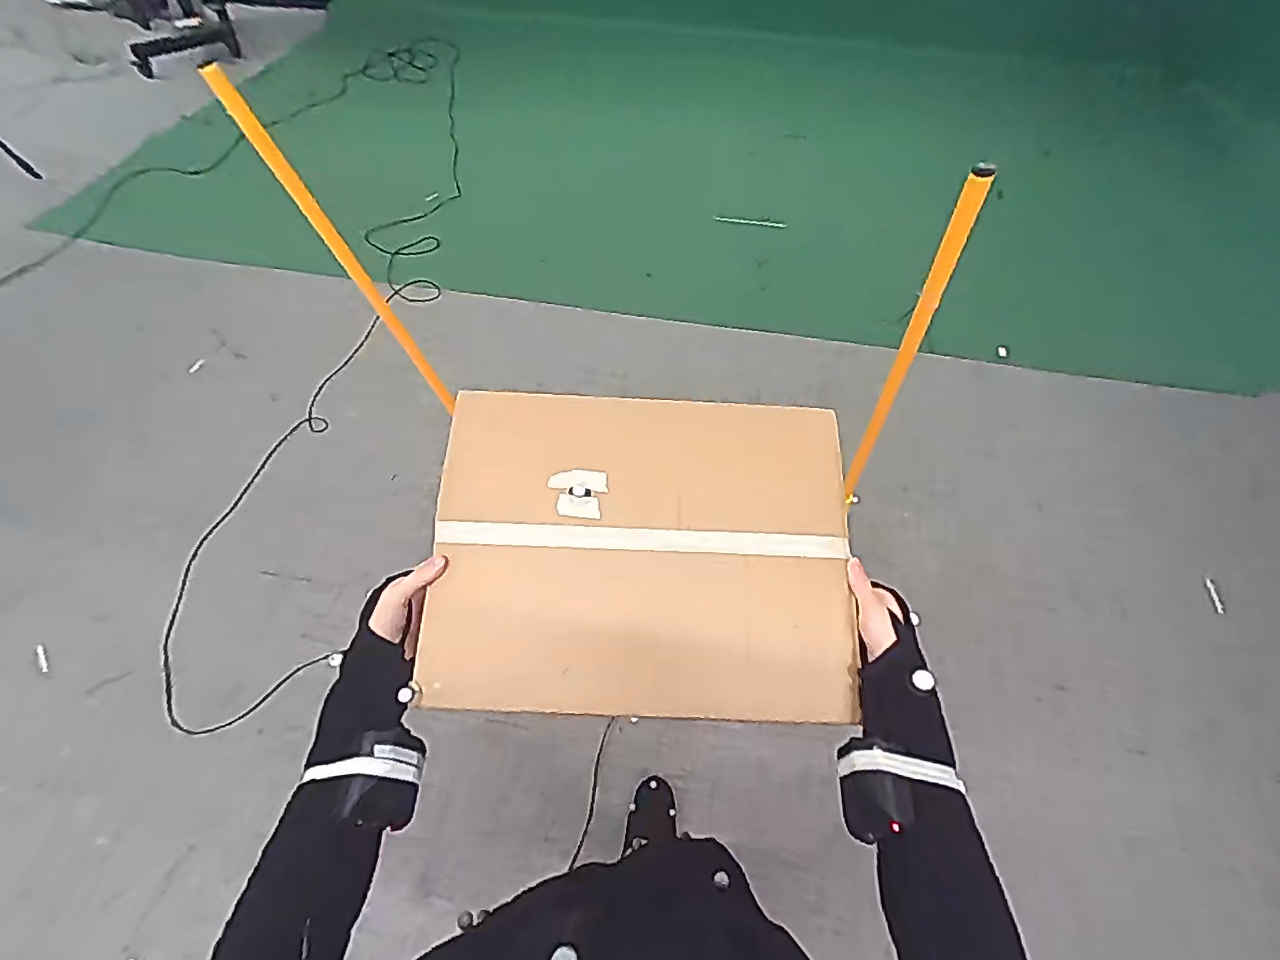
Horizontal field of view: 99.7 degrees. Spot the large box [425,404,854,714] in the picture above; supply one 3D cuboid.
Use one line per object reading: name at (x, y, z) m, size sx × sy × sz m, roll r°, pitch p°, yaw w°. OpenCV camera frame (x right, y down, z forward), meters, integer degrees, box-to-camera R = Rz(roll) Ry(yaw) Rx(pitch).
large box at (0.002, 0.112, 0.683) m, size 0.408 × 0.320 × 0.320 m, roll 2°, pitch 70°, yaw 0°
